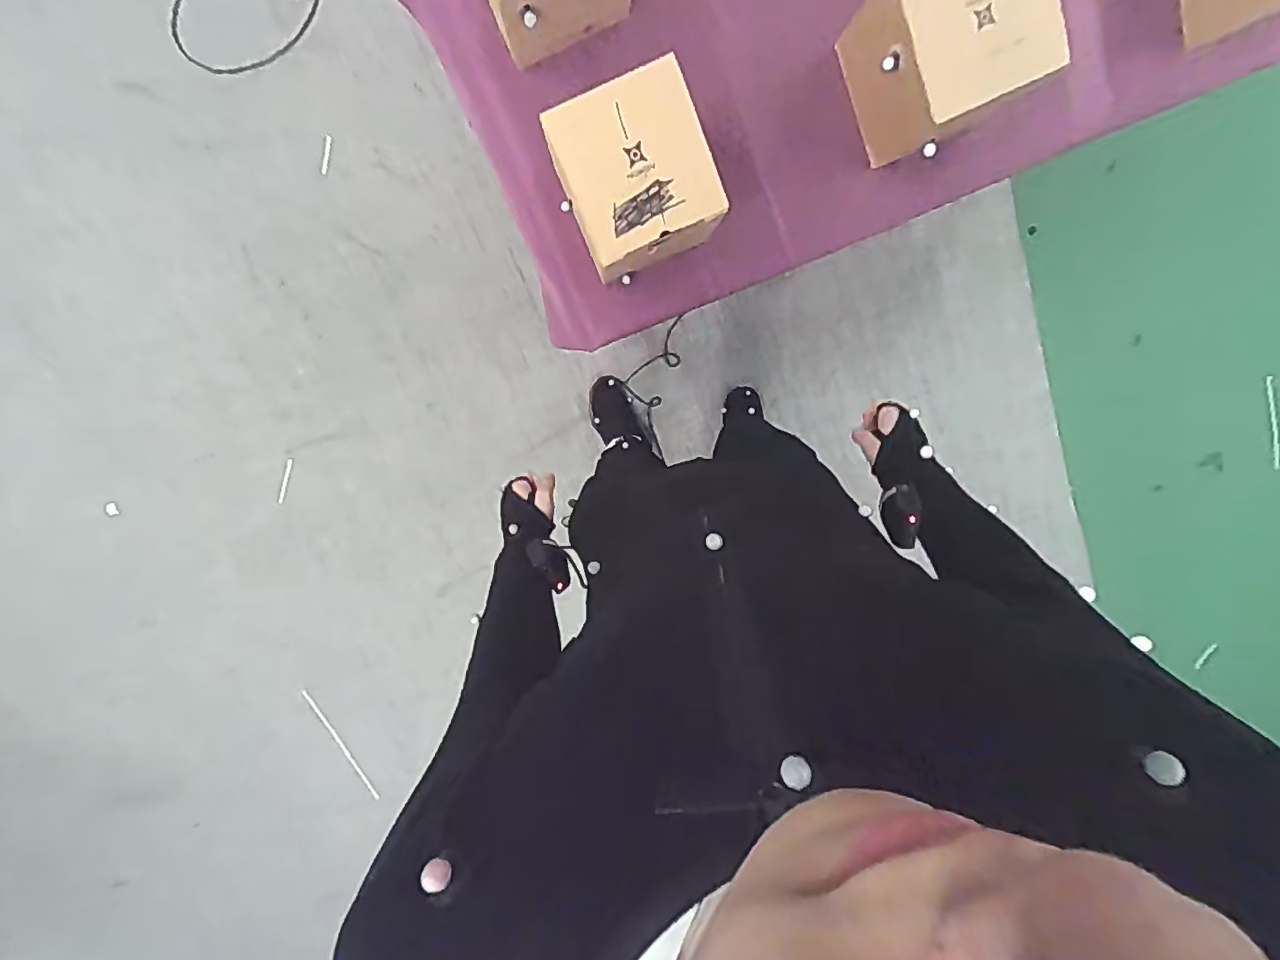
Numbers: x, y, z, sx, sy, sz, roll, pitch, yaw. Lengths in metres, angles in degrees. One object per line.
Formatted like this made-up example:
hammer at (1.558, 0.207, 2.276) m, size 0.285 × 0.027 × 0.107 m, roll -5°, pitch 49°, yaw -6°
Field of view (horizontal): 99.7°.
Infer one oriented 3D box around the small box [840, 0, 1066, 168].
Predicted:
small box at (0.377, -0.537, 0.682) m, size 0.168 × 0.176 × 0.179 m, roll -23°, pitch 103°, yaw 5°

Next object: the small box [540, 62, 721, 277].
small box at (-0.009, -0.381, 0.709) m, size 0.168 × 0.176 × 0.179 m, roll -23°, pitch 102°, yaw 4°

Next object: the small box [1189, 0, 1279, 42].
small box at (0.818, -0.692, 0.651) m, size 0.168 × 0.176 × 0.179 m, roll -21°, pitch 104°, yaw 5°
